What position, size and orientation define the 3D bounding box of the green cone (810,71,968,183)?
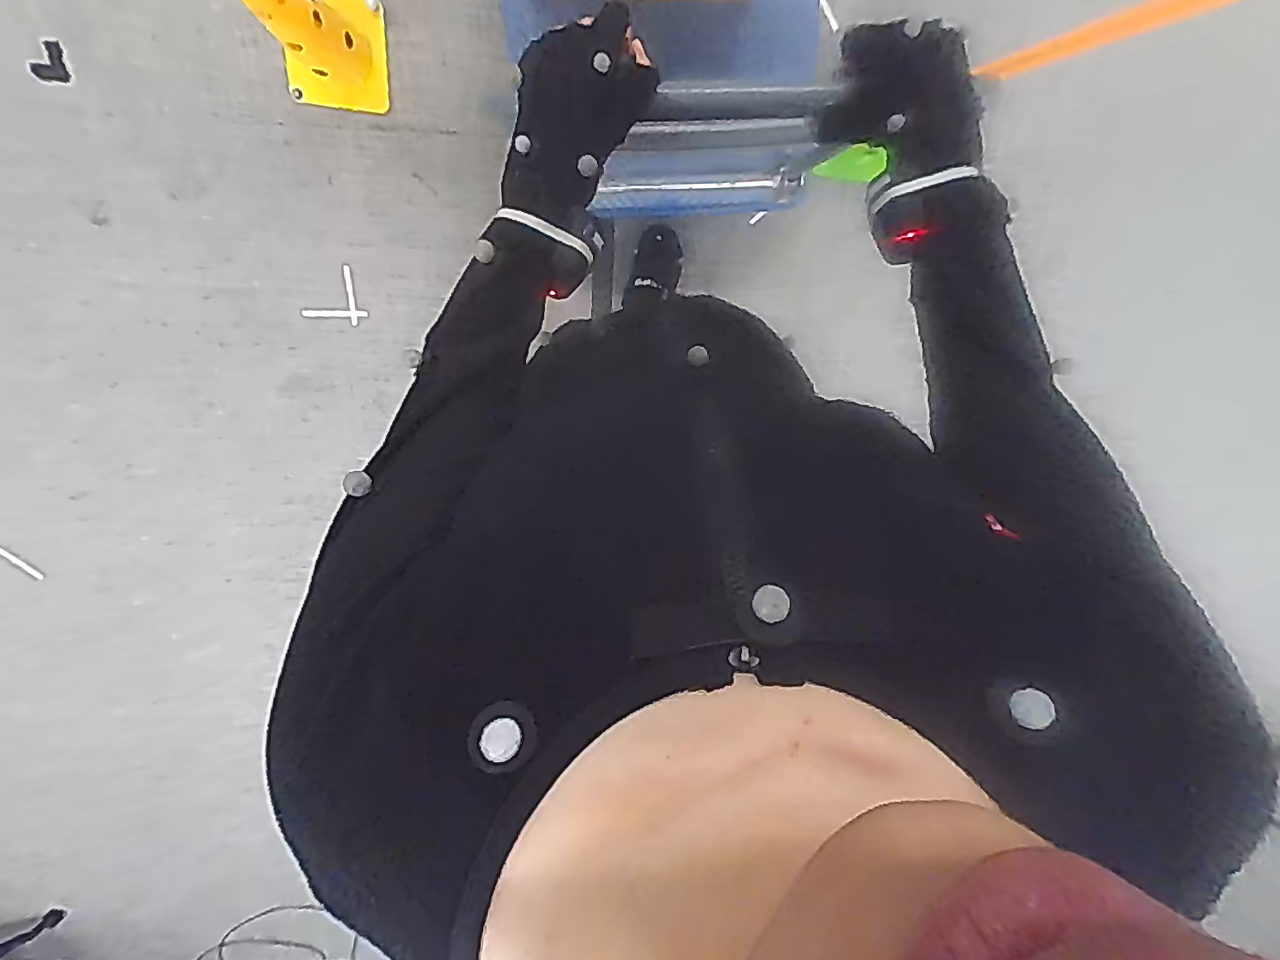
[{"bbox_3d":[0.513,-0.731,1.074,0.202,0.368,0.200,4,113,-7],"label":"green cone"}]
